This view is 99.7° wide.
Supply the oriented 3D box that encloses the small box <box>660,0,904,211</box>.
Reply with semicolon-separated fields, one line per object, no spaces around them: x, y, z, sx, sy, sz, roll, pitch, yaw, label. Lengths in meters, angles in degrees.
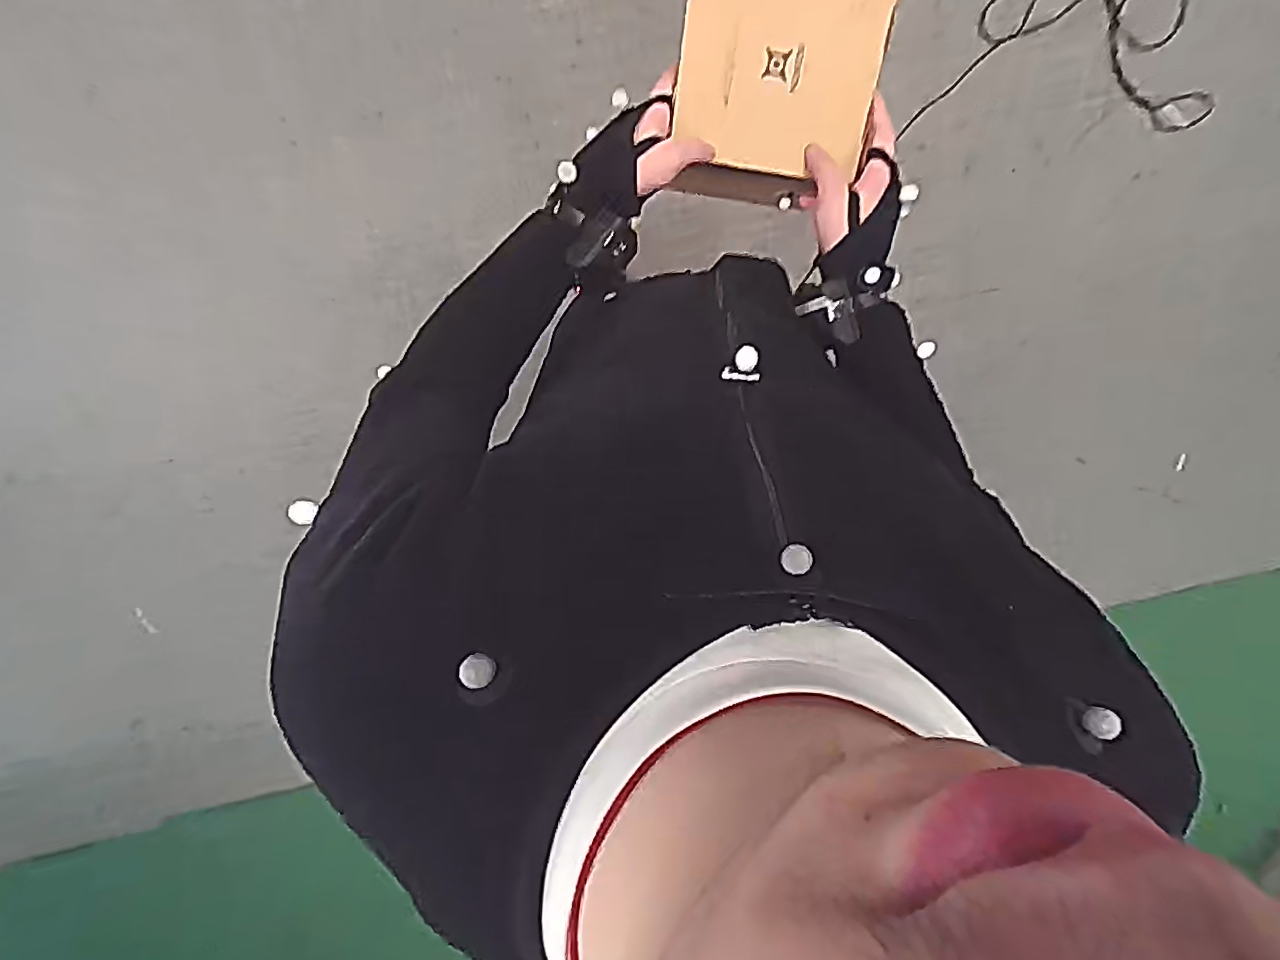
0.121;-0.377;0.531;0.179;0.176;0.168;9;106;-2;small box
